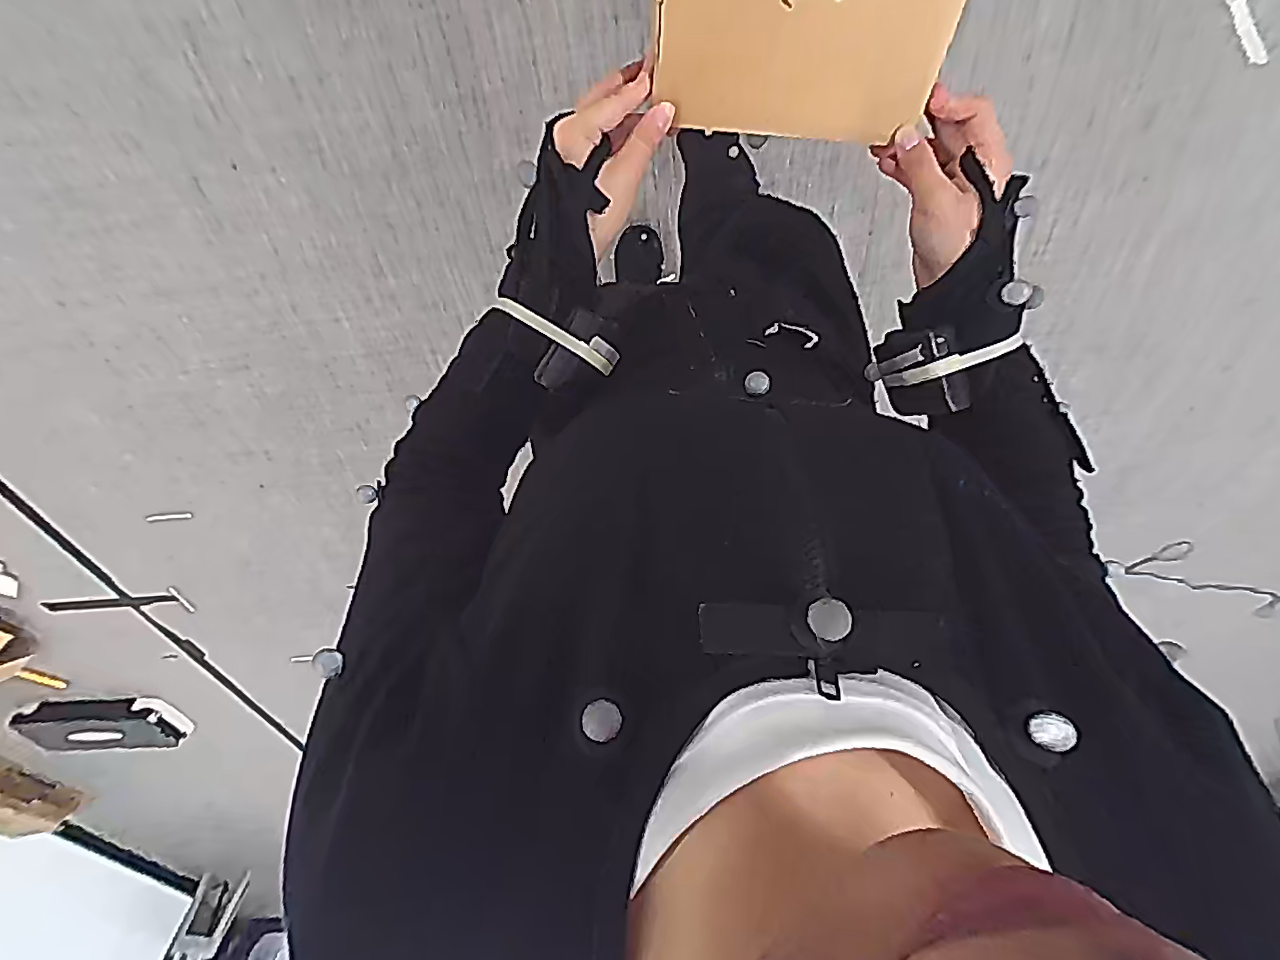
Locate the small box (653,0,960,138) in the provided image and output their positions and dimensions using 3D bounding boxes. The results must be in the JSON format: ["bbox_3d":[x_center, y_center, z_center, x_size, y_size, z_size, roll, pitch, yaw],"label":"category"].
[{"bbox_3d":[0.103,-0.350,0.356,0.179,0.176,0.168,4,137,-2],"label":"small box"}]
